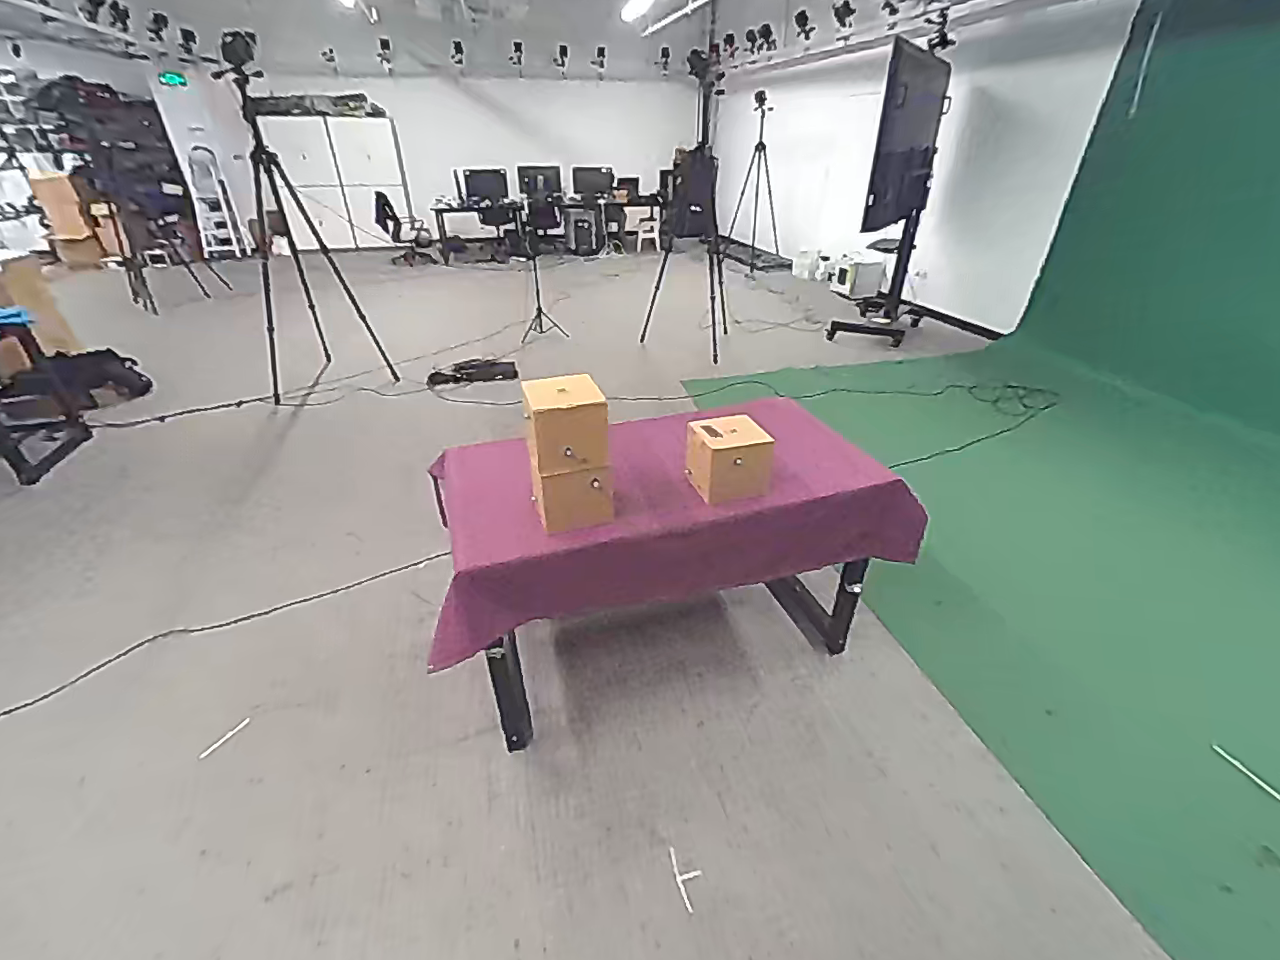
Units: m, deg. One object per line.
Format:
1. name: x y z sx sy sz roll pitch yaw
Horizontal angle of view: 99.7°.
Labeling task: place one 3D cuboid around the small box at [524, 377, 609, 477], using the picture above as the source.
1. small box: -0.173 -0.127 1.274 0.168 0.176 0.179 -10 34 -16

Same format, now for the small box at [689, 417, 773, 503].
1. small box: 0.238 -0.053 1.457 0.179 0.176 0.168 -9 33 -14

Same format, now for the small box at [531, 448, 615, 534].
1. small box: -0.168 0.014 1.356 0.179 0.176 0.168 -10 32 -16
